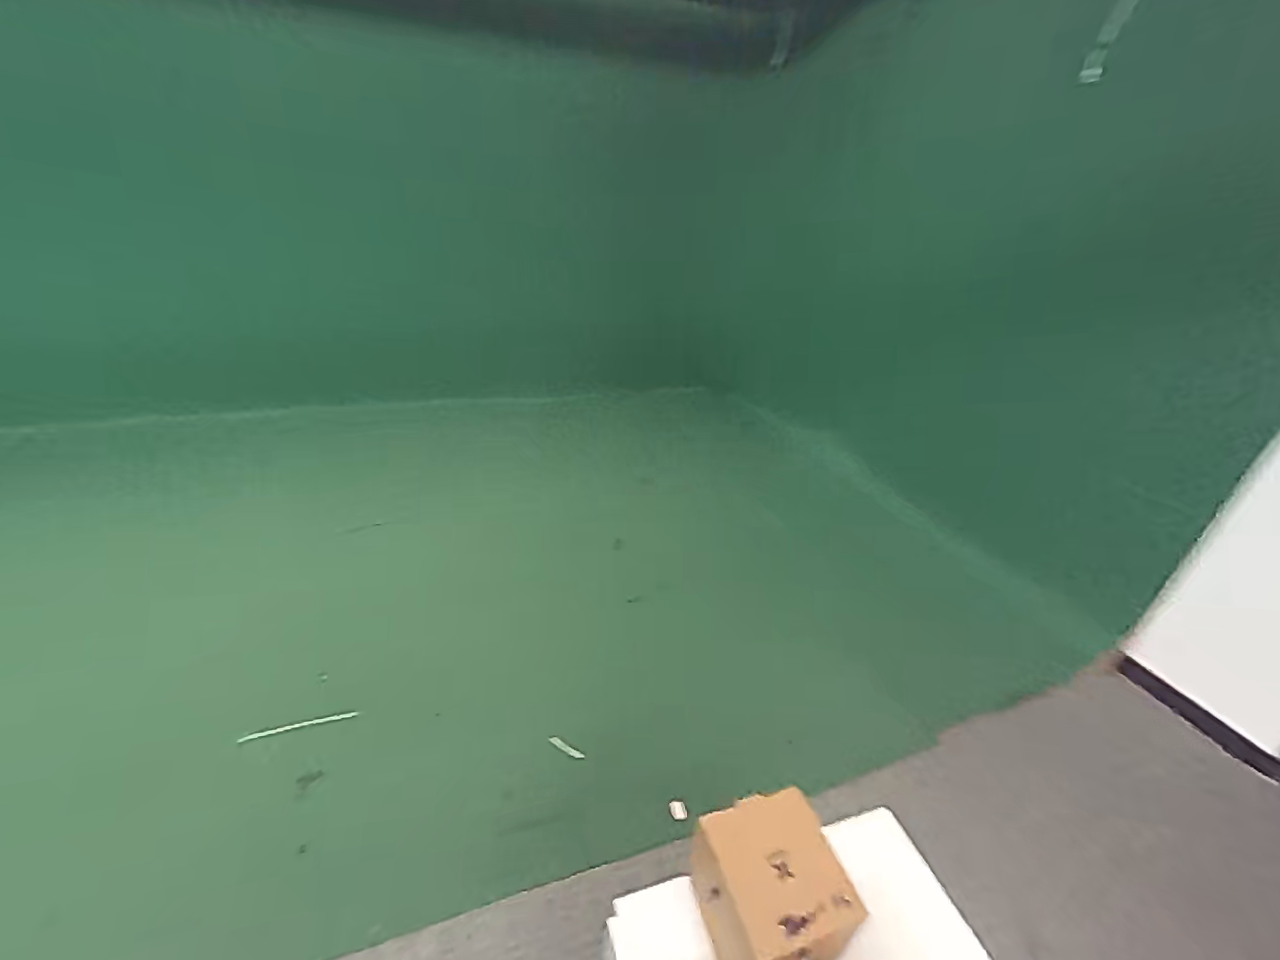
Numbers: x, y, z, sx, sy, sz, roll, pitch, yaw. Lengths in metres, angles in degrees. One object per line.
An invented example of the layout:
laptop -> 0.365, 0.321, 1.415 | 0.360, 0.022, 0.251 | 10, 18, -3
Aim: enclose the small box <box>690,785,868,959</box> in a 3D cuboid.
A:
small box -> 0.182, 0.585, 0.772 | 0.168, 0.176, 0.179 | -6, 32, -18
